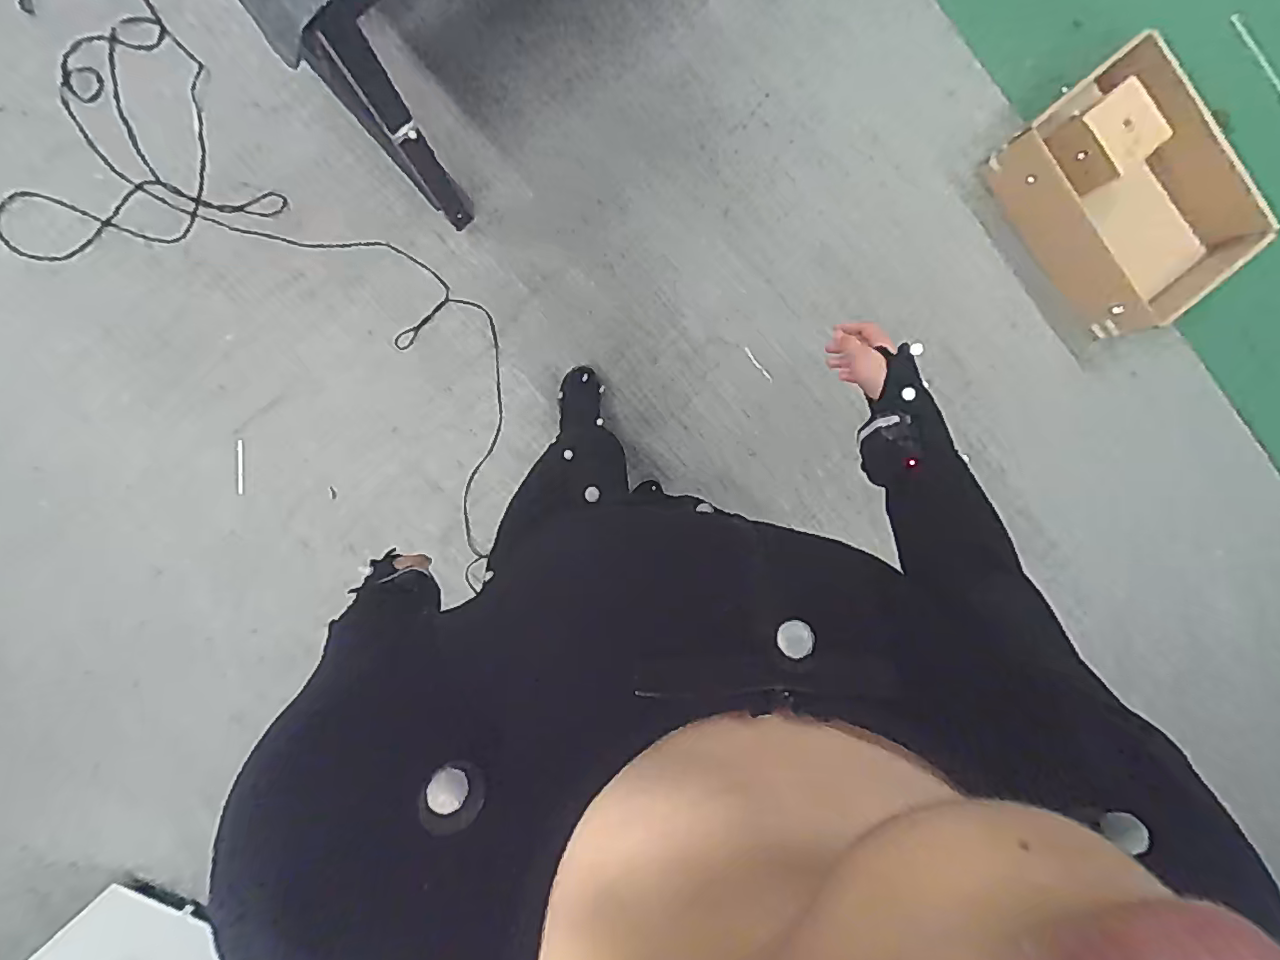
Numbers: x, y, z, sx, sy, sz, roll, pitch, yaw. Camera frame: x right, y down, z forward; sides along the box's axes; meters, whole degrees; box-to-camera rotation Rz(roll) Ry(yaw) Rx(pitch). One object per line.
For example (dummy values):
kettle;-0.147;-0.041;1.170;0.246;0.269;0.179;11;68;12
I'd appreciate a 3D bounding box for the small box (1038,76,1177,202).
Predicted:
small box;1.164;-0.845;1.363;0.168;0.176;0.179;-40;97;1
